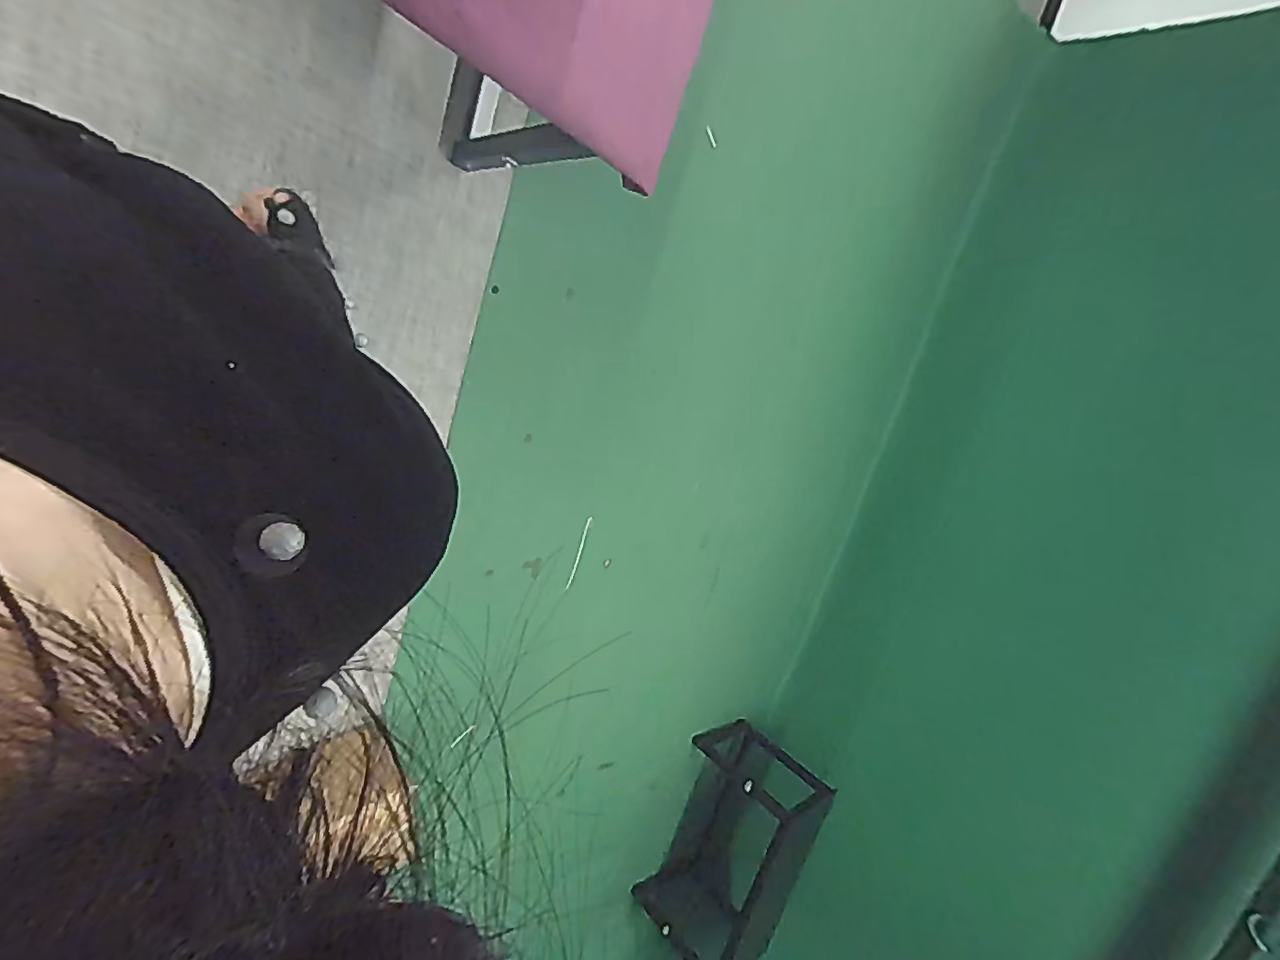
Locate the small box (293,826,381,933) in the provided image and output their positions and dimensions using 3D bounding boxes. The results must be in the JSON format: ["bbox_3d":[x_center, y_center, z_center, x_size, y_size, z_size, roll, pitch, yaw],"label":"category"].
[{"bbox_3d":[-0.799,1.055,1.419,0.168,0.176,0.179,-5,112,-44],"label":"small box"}]

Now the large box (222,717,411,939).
[{"bbox_3d":[-0.950,0.999,1.609,0.408,0.320,0.320,-13,119,-43],"label":"large box"}]
